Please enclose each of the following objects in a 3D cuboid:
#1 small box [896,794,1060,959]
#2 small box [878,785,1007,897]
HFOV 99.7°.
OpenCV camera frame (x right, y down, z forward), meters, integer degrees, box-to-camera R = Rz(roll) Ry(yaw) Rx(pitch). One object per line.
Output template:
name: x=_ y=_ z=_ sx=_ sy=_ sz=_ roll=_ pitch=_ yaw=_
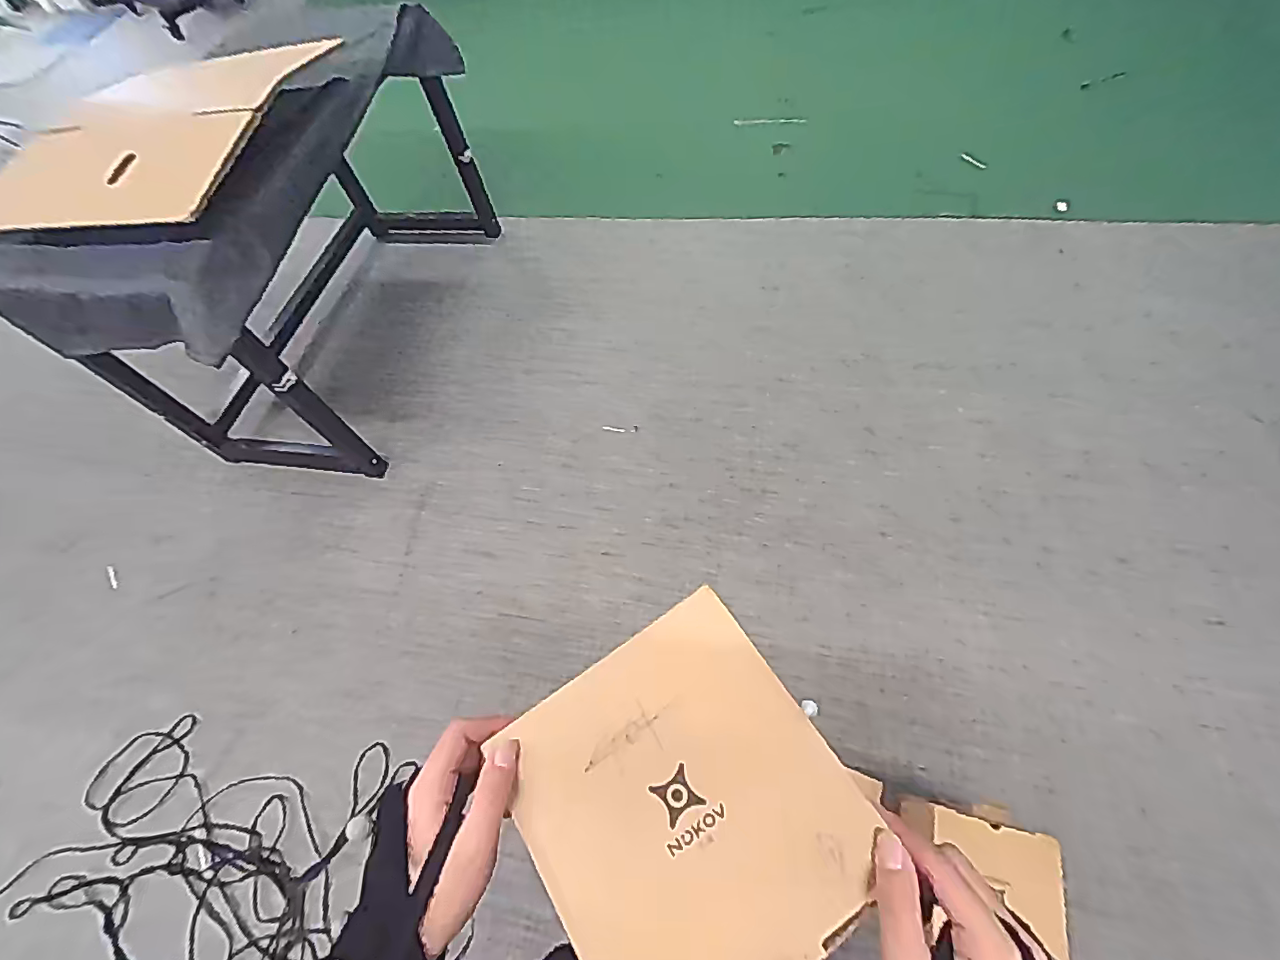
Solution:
small box: x=0.501 y=0.598 z=0.824 sx=0.168 sy=0.176 sz=0.179 roll=9 pitch=62 yaw=14
small box: x=0.536 y=0.667 z=0.969 sx=0.168 sy=0.176 sz=0.179 roll=9 pitch=62 yaw=13
